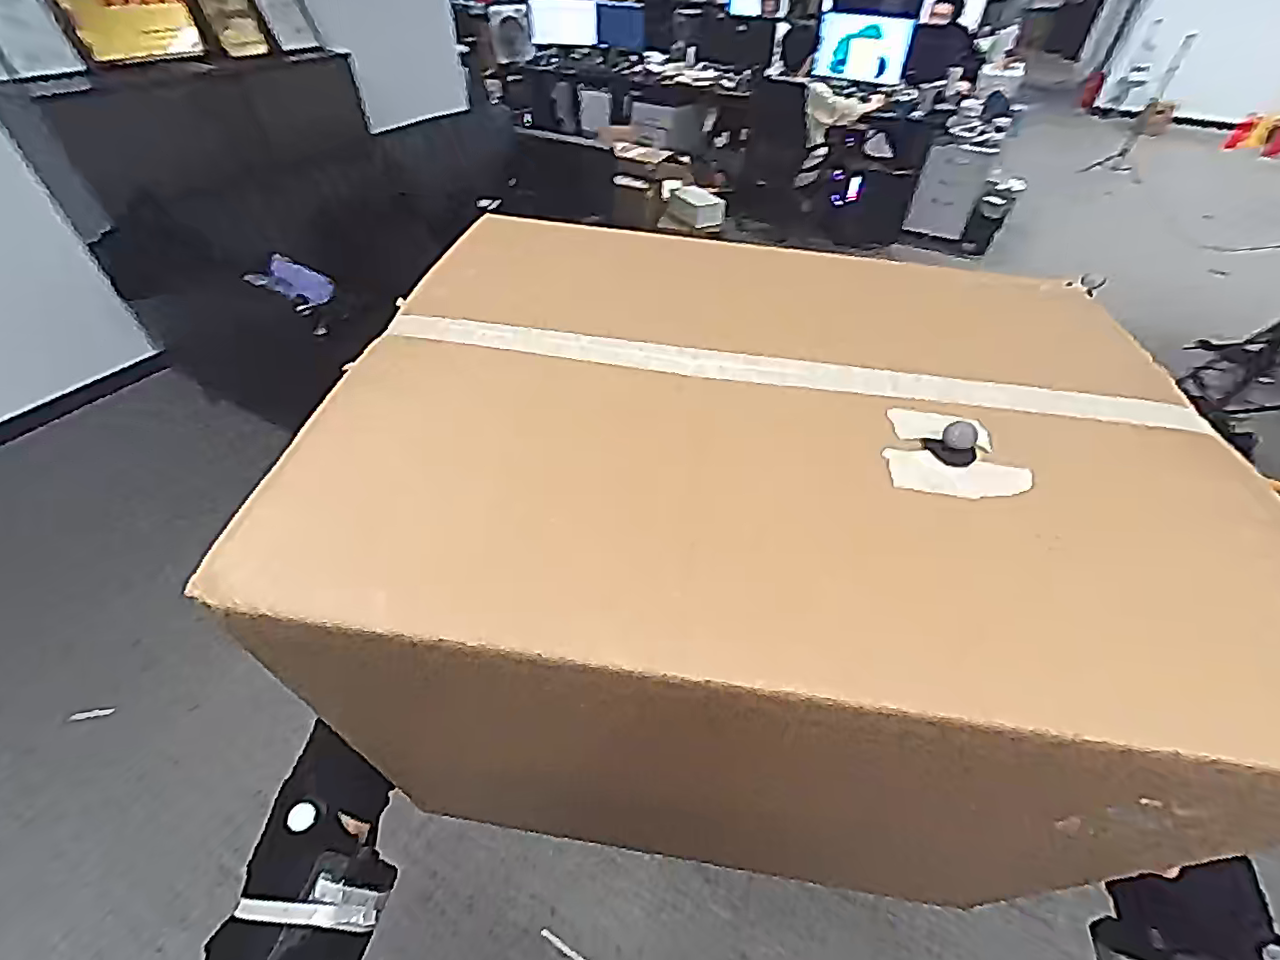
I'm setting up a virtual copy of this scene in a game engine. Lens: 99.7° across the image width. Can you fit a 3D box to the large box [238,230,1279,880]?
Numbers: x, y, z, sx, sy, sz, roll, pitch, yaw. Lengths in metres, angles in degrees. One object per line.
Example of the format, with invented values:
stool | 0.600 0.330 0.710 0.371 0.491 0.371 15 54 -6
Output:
large box | 0.060 0.055 0.391 0.408 0.320 0.320 8 48 2
